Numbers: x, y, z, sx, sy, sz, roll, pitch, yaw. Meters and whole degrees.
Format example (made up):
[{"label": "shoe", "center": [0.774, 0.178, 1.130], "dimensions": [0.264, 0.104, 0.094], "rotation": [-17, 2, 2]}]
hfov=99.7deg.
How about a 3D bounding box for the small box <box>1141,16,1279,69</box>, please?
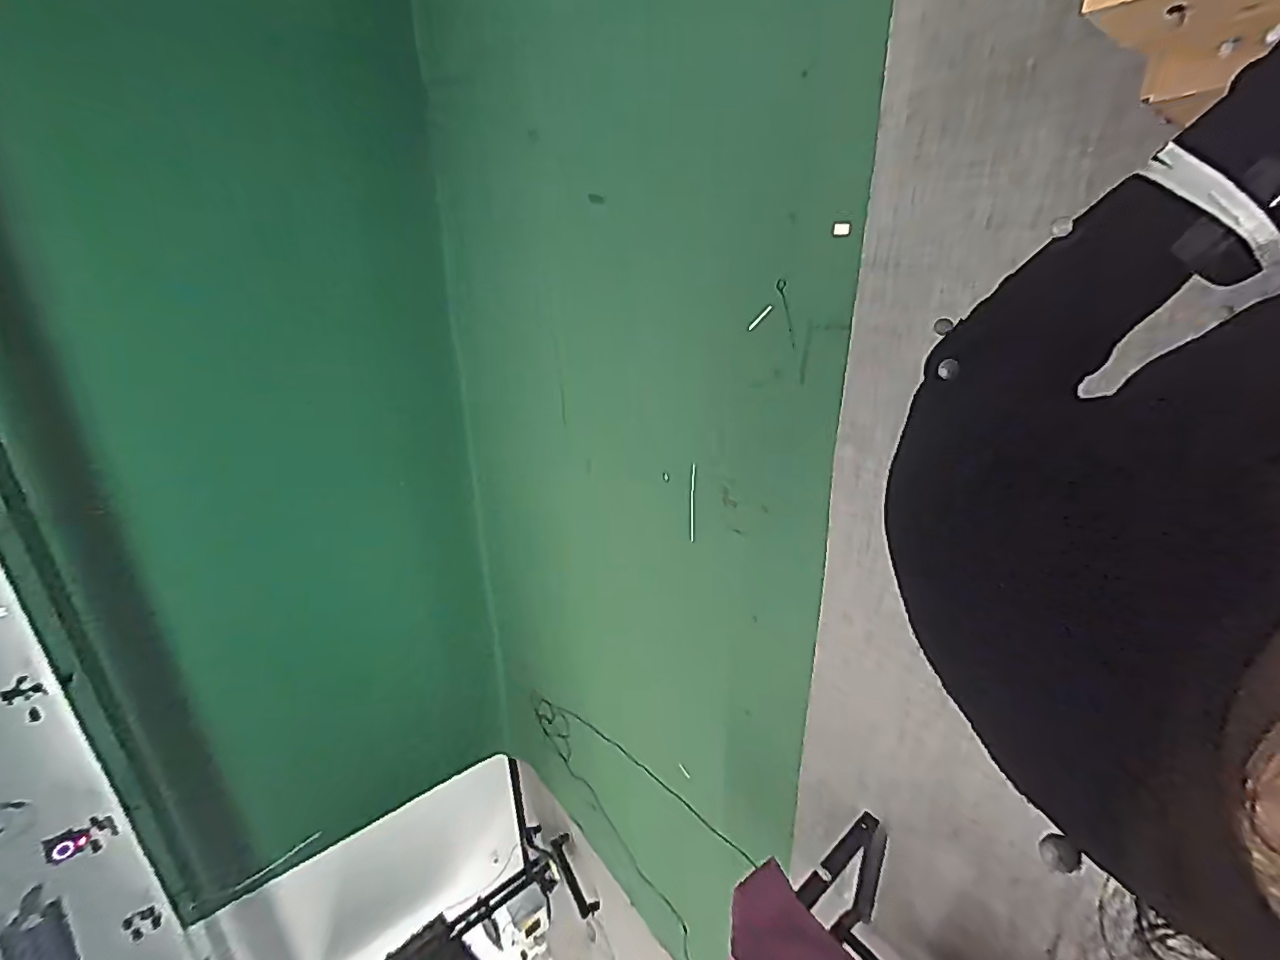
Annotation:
[{"label": "small box", "center": [0.674, -0.588, 0.591], "dimensions": [0.168, 0.176, 0.179], "rotation": [22, 123, 45]}]
